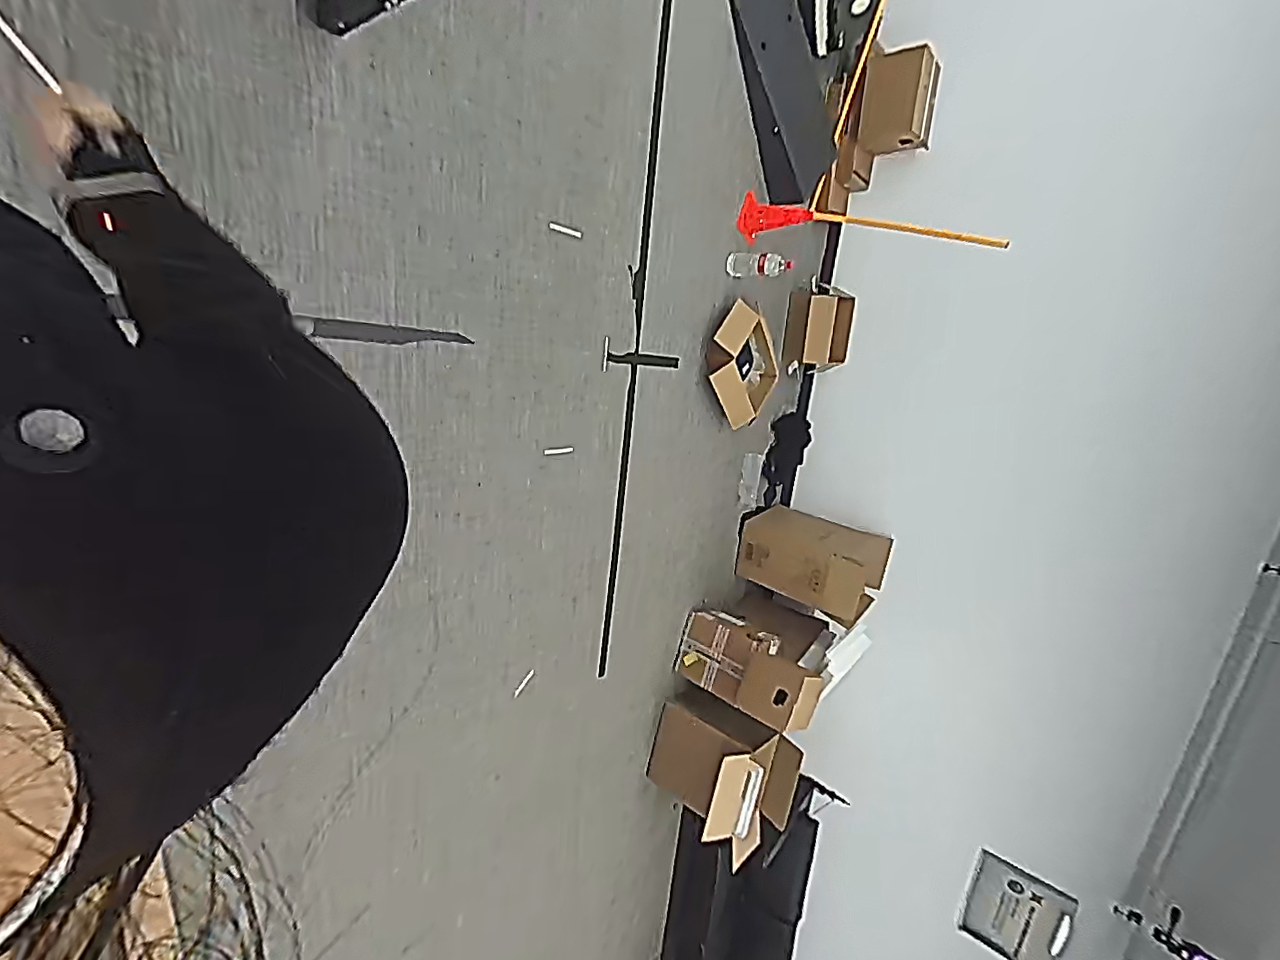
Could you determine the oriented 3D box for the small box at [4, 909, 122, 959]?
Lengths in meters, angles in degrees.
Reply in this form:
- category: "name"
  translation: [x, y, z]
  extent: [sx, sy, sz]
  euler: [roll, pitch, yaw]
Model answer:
- category: "small box"
  translation: [-1.274, 1.110, 1.199]
  extent: [0.168, 0.176, 0.179]
  euler: [-8, 110, -50]
